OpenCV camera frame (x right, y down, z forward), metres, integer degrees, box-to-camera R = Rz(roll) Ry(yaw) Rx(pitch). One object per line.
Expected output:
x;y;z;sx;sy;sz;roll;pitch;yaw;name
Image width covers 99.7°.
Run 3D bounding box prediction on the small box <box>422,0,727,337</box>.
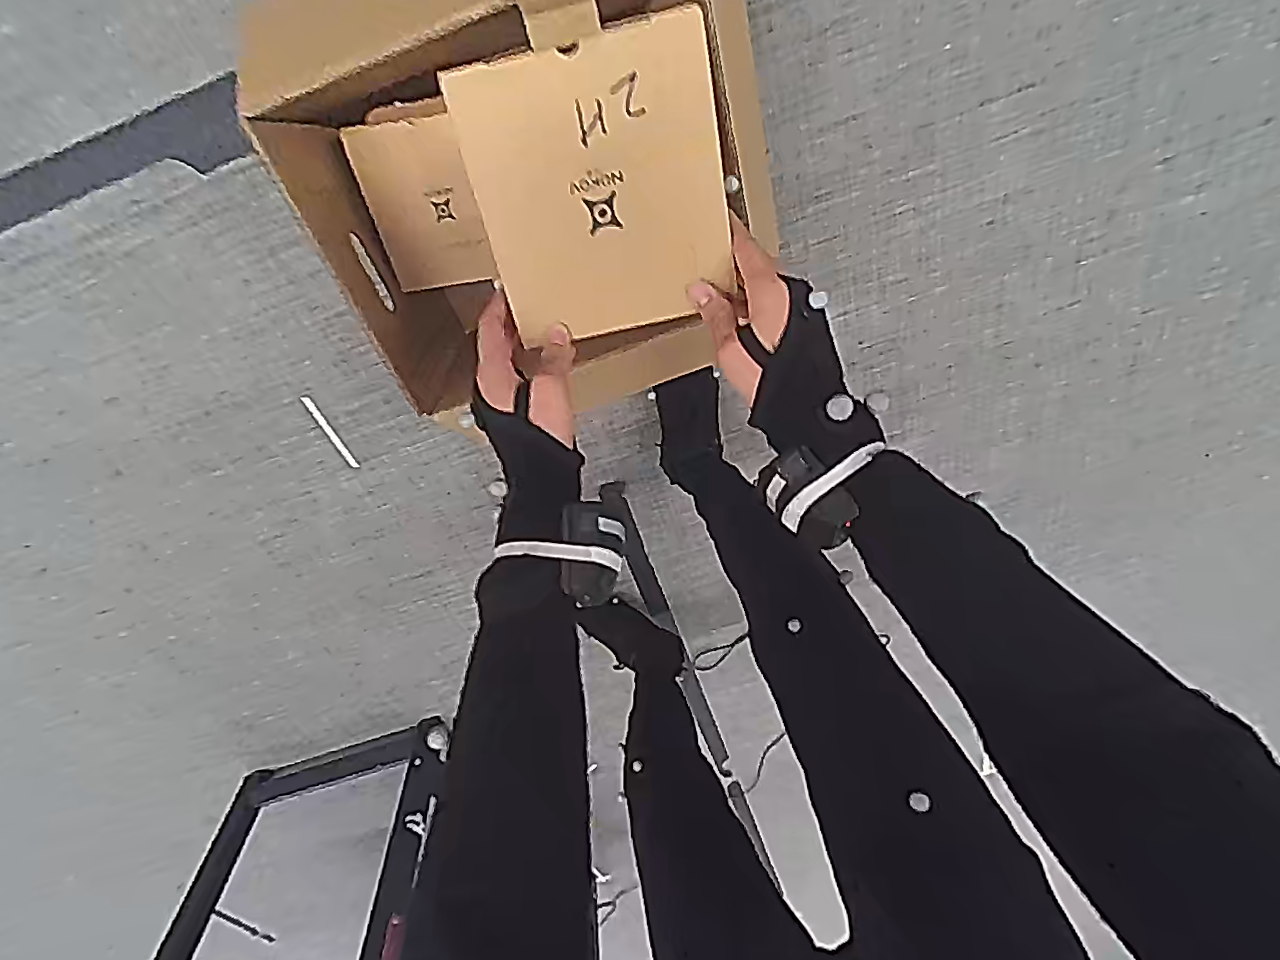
-0.033;-0.232;0.421;0.168;0.176;0.179;-11;118;6;small box
